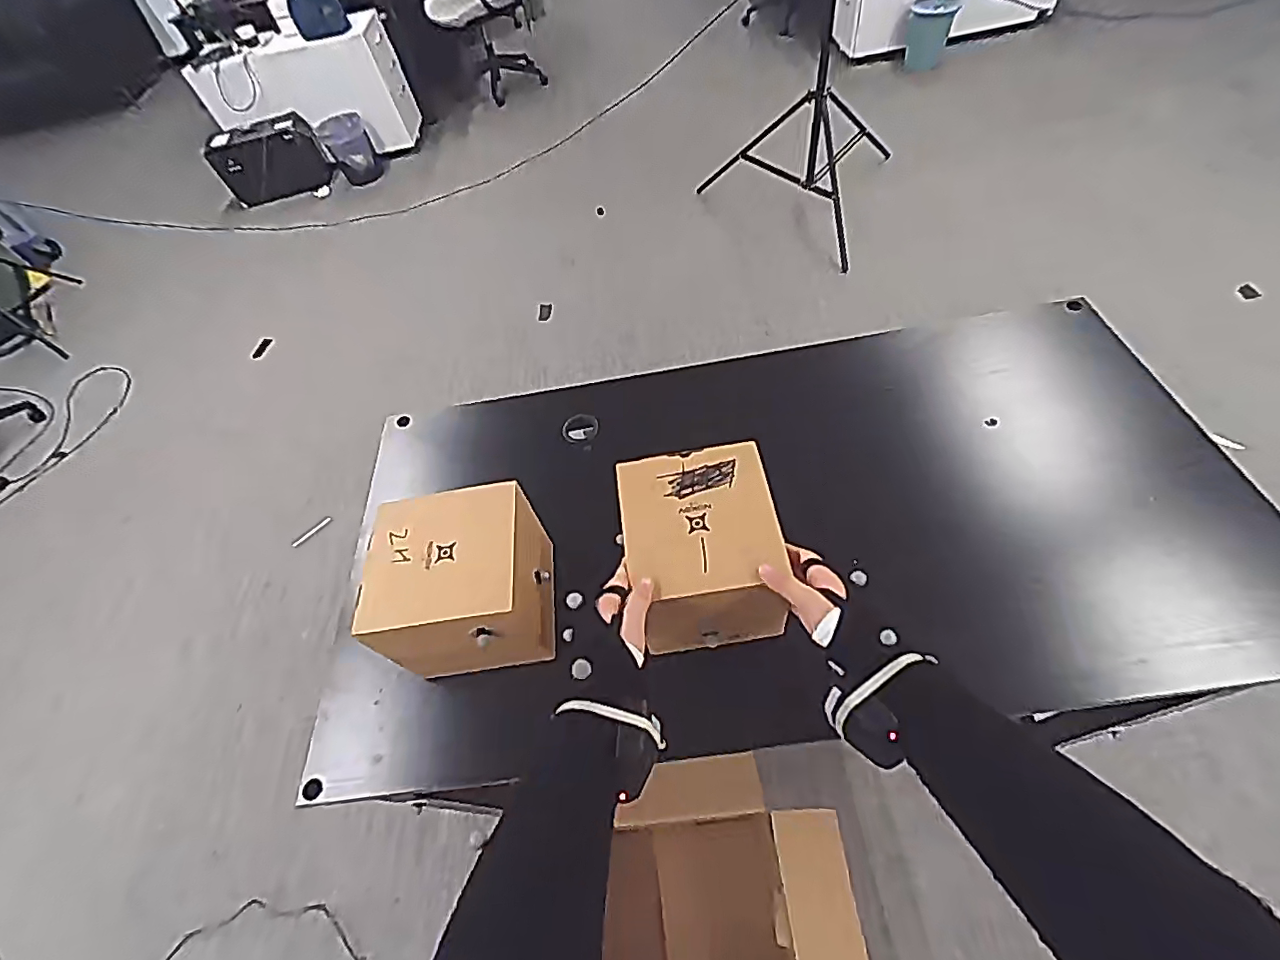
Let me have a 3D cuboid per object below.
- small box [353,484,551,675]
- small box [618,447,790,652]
[{"bbox_3d":[-0.212,0.129,0.668,0.179,0.176,0.168,-10,54,3],"label":"small box"},{"bbox_3d":[0.070,0.088,0.650,0.168,0.176,0.179,-10,55,3],"label":"small box"}]
